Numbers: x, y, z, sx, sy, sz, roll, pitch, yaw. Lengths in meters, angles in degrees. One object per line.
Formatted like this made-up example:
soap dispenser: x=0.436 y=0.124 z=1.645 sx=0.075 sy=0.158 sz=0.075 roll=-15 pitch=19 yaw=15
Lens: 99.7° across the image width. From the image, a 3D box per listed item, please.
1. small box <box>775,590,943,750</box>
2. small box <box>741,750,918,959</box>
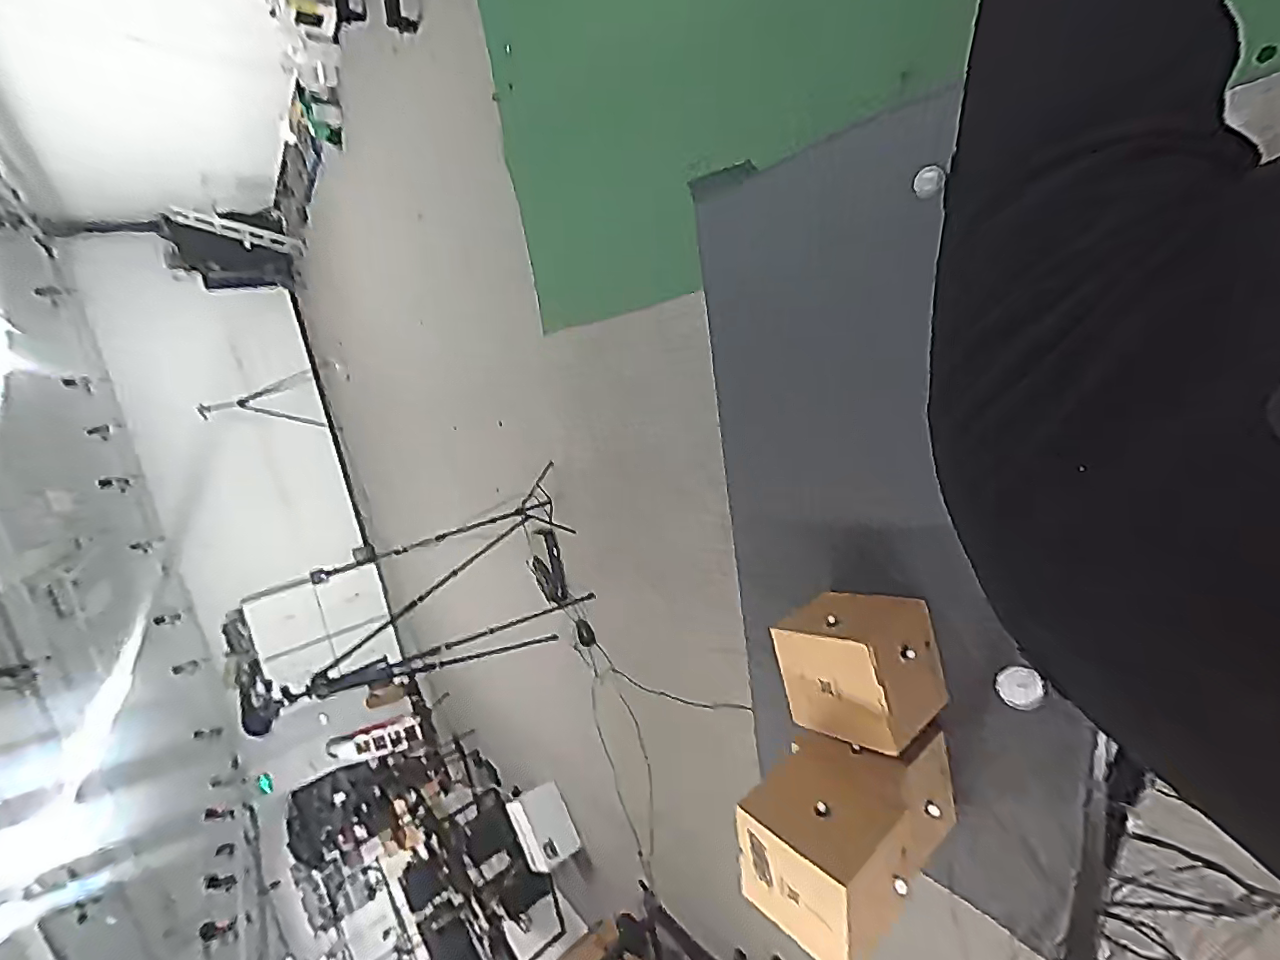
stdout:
small box: x=0.347 y=0.281 z=0.848 sx=0.179 sy=0.176 sz=0.168 roll=-10 pitch=96 yaw=54
small box: x=0.269 y=0.524 z=0.772 sx=0.179 sy=0.176 sz=0.168 roll=10 pitch=112 yaw=50
